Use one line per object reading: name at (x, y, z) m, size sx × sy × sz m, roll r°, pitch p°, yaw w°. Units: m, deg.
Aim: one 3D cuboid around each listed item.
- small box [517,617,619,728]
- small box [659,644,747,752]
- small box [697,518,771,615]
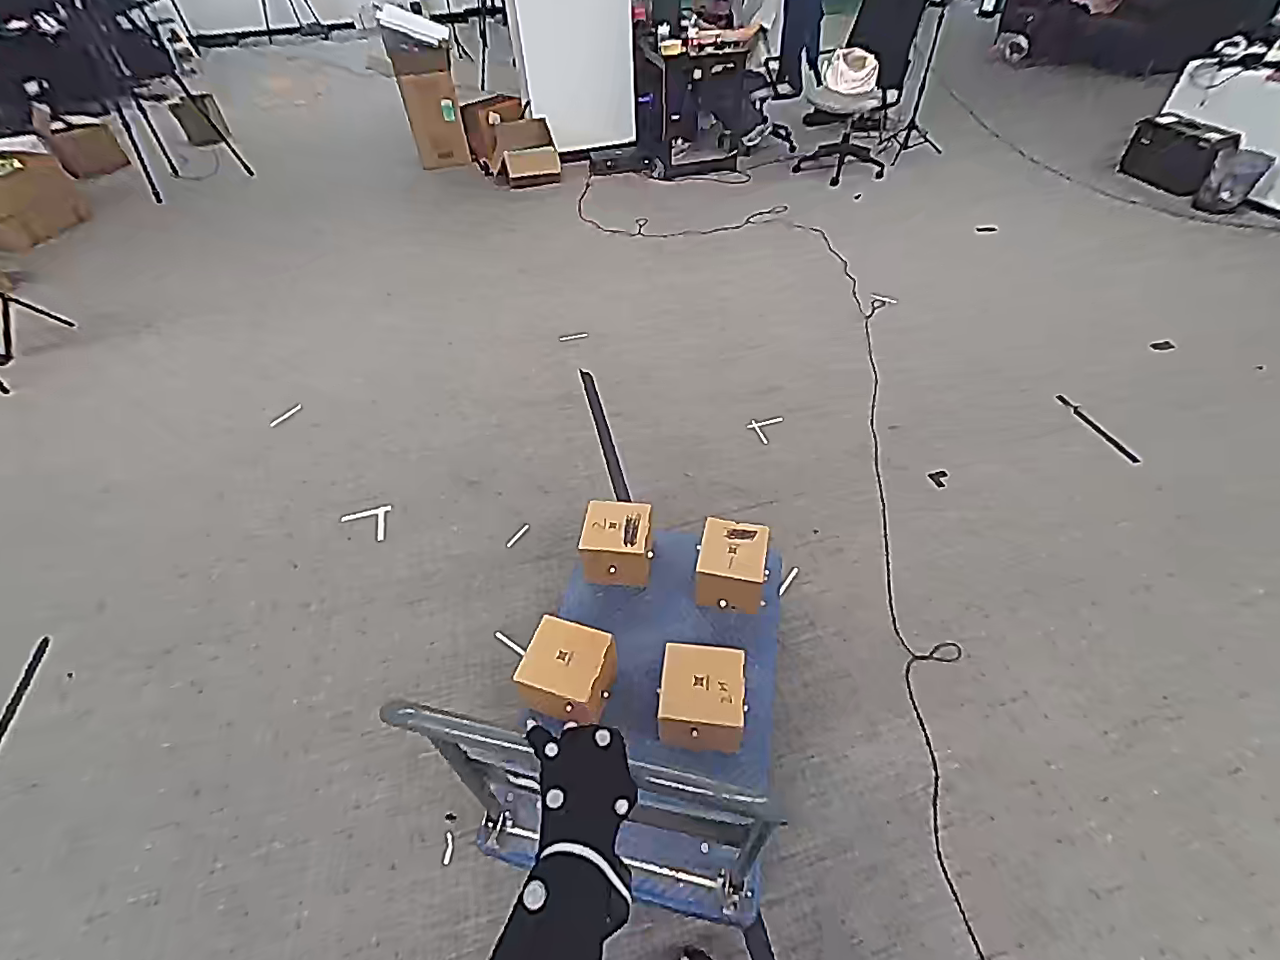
small box at (-0.159, 0.449, 1.254) m, size 0.179 × 0.176 × 0.168 m, roll 12°, pitch 49°, yaw 13°
small box at (0.141, 0.484, 1.197) m, size 0.179 × 0.176 × 0.168 m, roll 4°, pitch 48°, yaw 8°
small box at (0.246, 0.228, 1.427) m, size 0.168 × 0.176 × 0.179 m, roll 8°, pitch 50°, yaw 12°
